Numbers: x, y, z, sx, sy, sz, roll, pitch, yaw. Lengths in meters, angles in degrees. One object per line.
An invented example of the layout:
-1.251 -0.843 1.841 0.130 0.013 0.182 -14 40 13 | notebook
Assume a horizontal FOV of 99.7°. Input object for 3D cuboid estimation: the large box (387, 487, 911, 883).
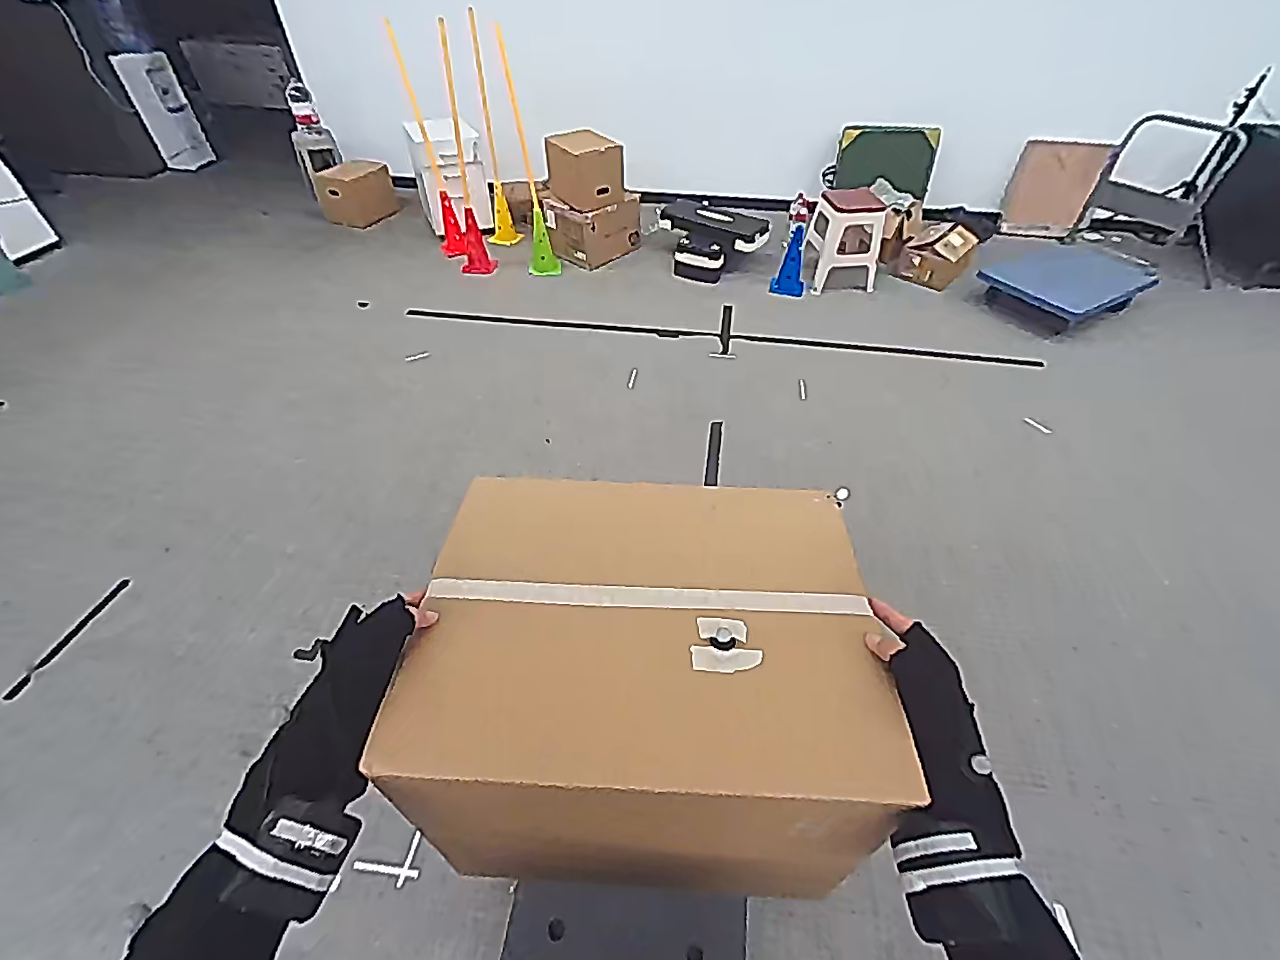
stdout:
0.007 0.227 0.611 0.408 0.320 0.320 3 43 2 | large box
